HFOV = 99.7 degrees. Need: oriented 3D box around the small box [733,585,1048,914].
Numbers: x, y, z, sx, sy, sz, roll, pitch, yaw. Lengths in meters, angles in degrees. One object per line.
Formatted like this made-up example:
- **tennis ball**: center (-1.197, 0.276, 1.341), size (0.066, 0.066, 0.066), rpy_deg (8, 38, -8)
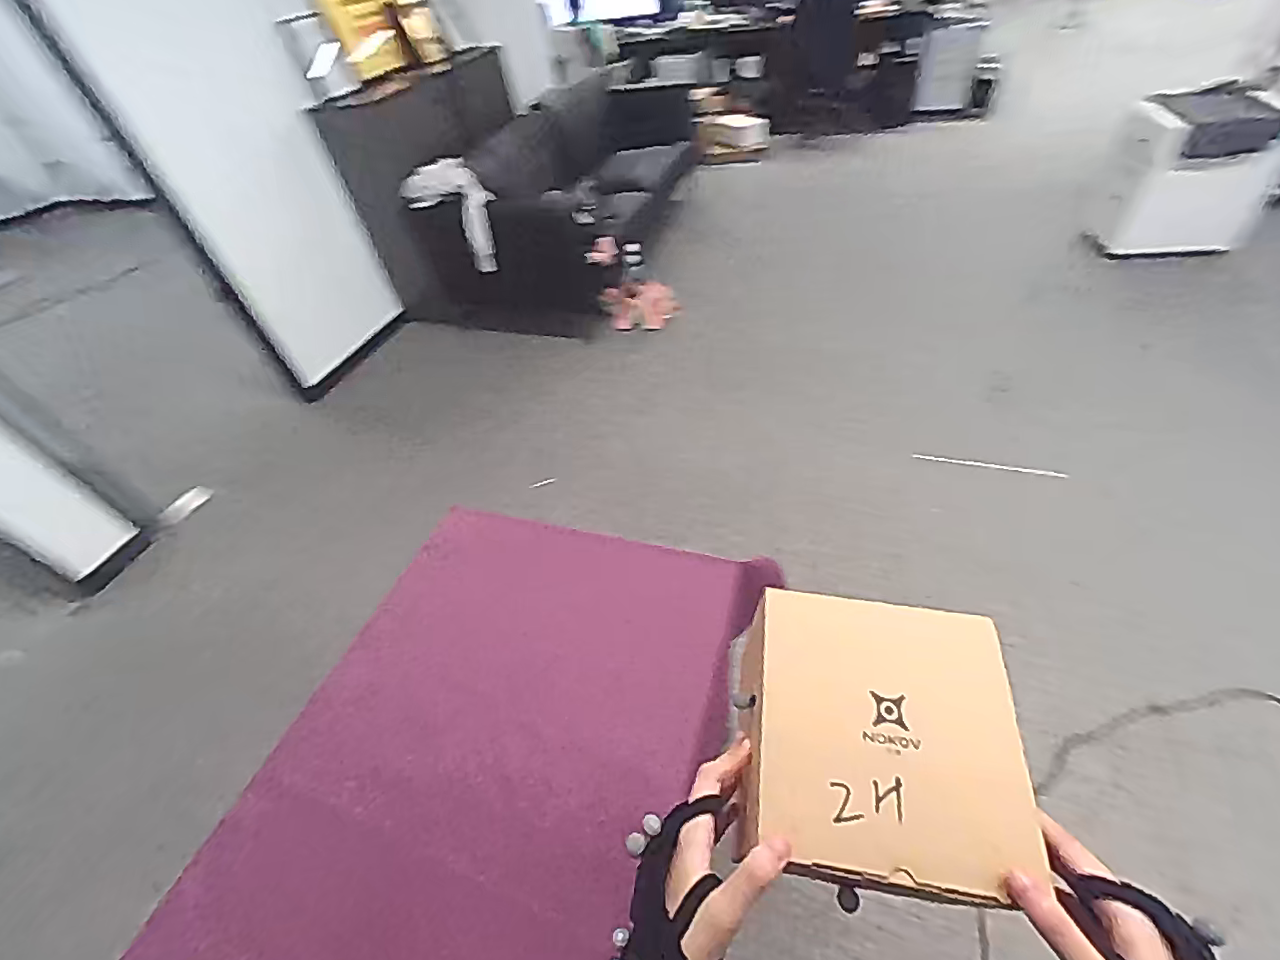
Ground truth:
- **small box**: center (0.168, 0.208, 0.426), size (0.168, 0.176, 0.179), rpy_deg (7, 56, 8)
